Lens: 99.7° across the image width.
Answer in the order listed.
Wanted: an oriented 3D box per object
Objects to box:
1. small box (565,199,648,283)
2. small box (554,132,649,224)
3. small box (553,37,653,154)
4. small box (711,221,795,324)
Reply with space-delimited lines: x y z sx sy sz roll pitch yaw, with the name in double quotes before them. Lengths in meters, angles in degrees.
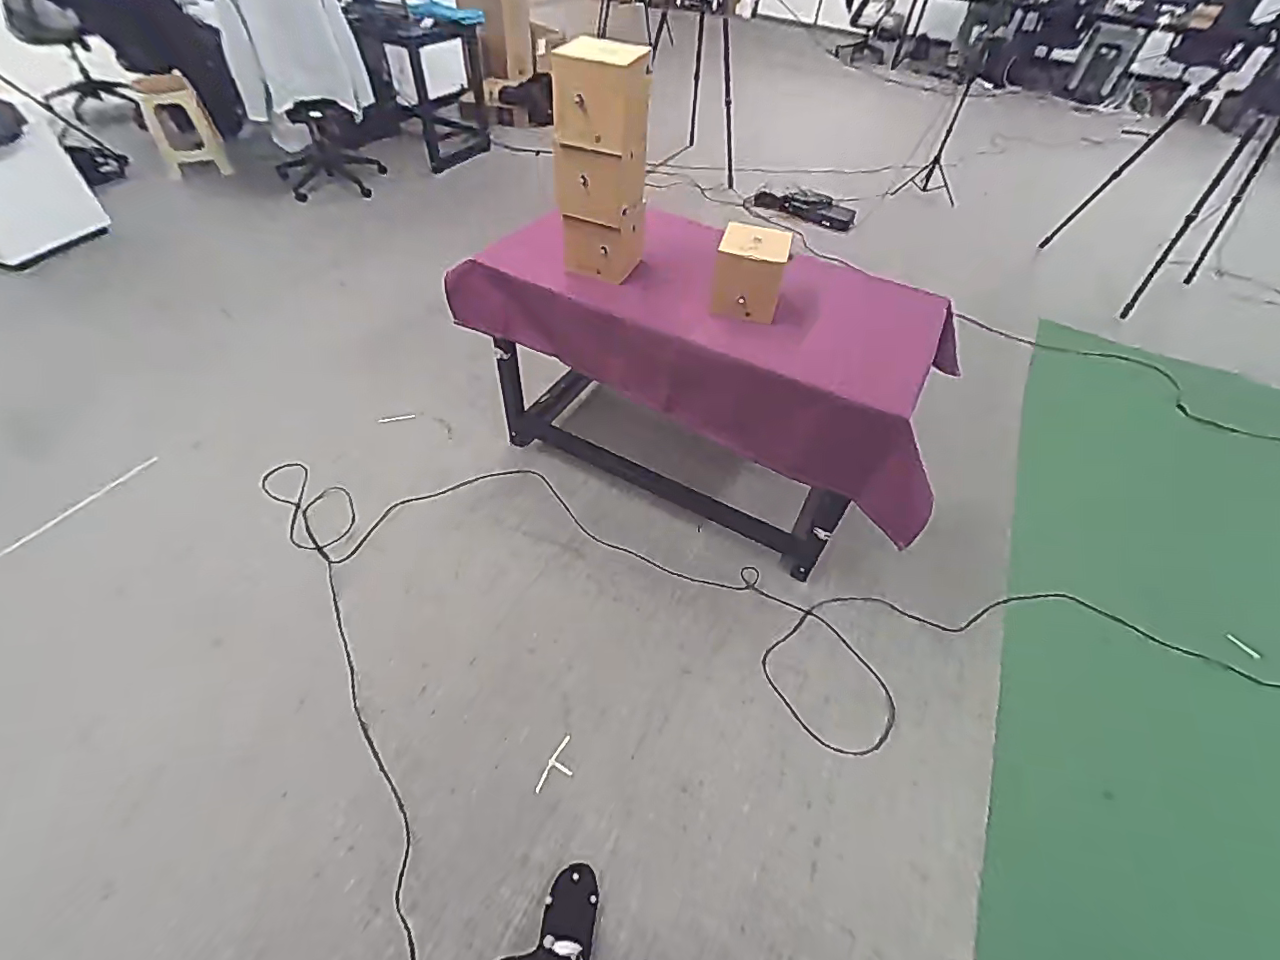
"small box" -0.089 -0.661 1.463 0.168 0.176 0.179 20 50 11
"small box" -0.092 -0.751 1.325 0.179 0.176 0.168 19 51 11
"small box" -0.078 -0.846 1.193 0.168 0.176 0.179 17 50 9
"small box" 0.284 -0.527 1.375 0.168 0.176 0.179 15 50 8
